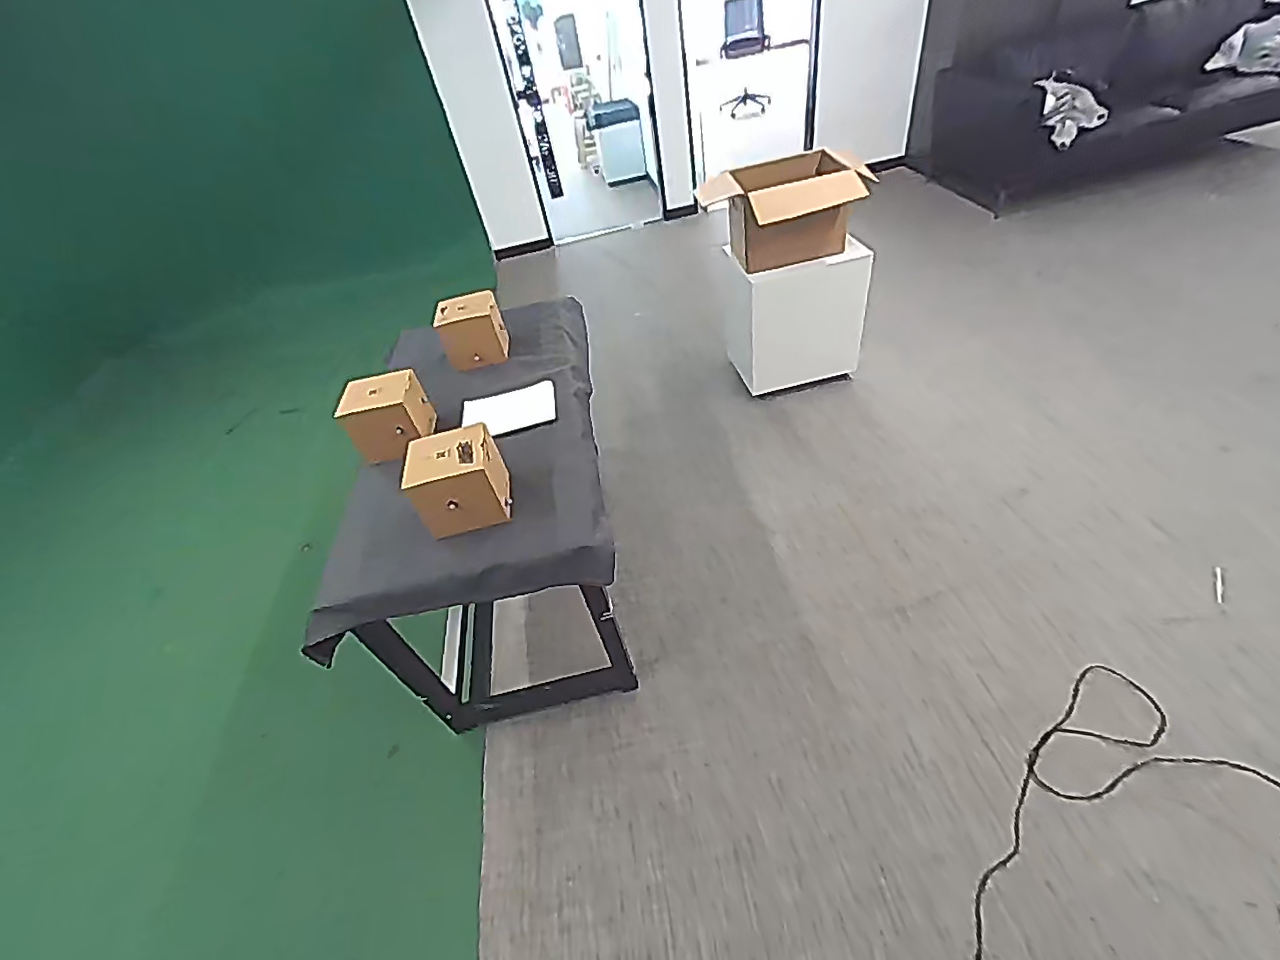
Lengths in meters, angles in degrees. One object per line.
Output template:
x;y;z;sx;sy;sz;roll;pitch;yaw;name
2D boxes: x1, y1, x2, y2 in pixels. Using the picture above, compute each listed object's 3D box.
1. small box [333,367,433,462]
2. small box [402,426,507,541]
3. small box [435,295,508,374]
-0.670;-0.172;1.437;0.179;0.176;0.168;-14;43;-1;small box
-0.403;0.010;1.212;0.179;0.176;0.168;-14;43;-2;small box
-0.528;-0.462;1.725;0.179;0.176;0.168;-12;43;-1;small box
